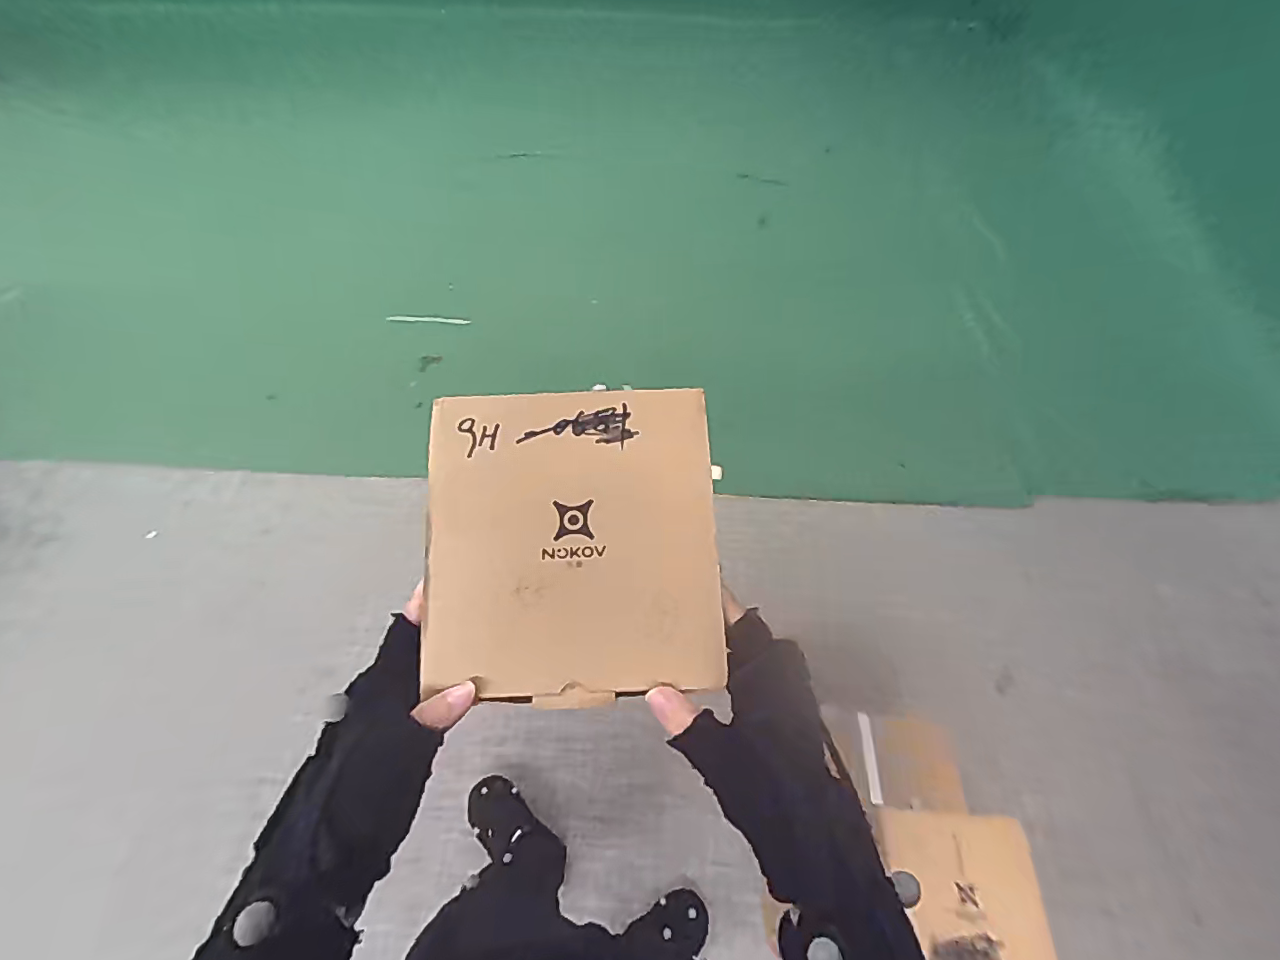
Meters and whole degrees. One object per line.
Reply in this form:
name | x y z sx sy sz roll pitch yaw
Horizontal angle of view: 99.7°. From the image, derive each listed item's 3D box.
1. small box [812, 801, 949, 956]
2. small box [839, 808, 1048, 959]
small box | 0.364 0.591 0.814 0.168 0.176 0.179 2 61 4
small box | 0.359 0.516 0.668 0.168 0.176 0.179 1 60 4
